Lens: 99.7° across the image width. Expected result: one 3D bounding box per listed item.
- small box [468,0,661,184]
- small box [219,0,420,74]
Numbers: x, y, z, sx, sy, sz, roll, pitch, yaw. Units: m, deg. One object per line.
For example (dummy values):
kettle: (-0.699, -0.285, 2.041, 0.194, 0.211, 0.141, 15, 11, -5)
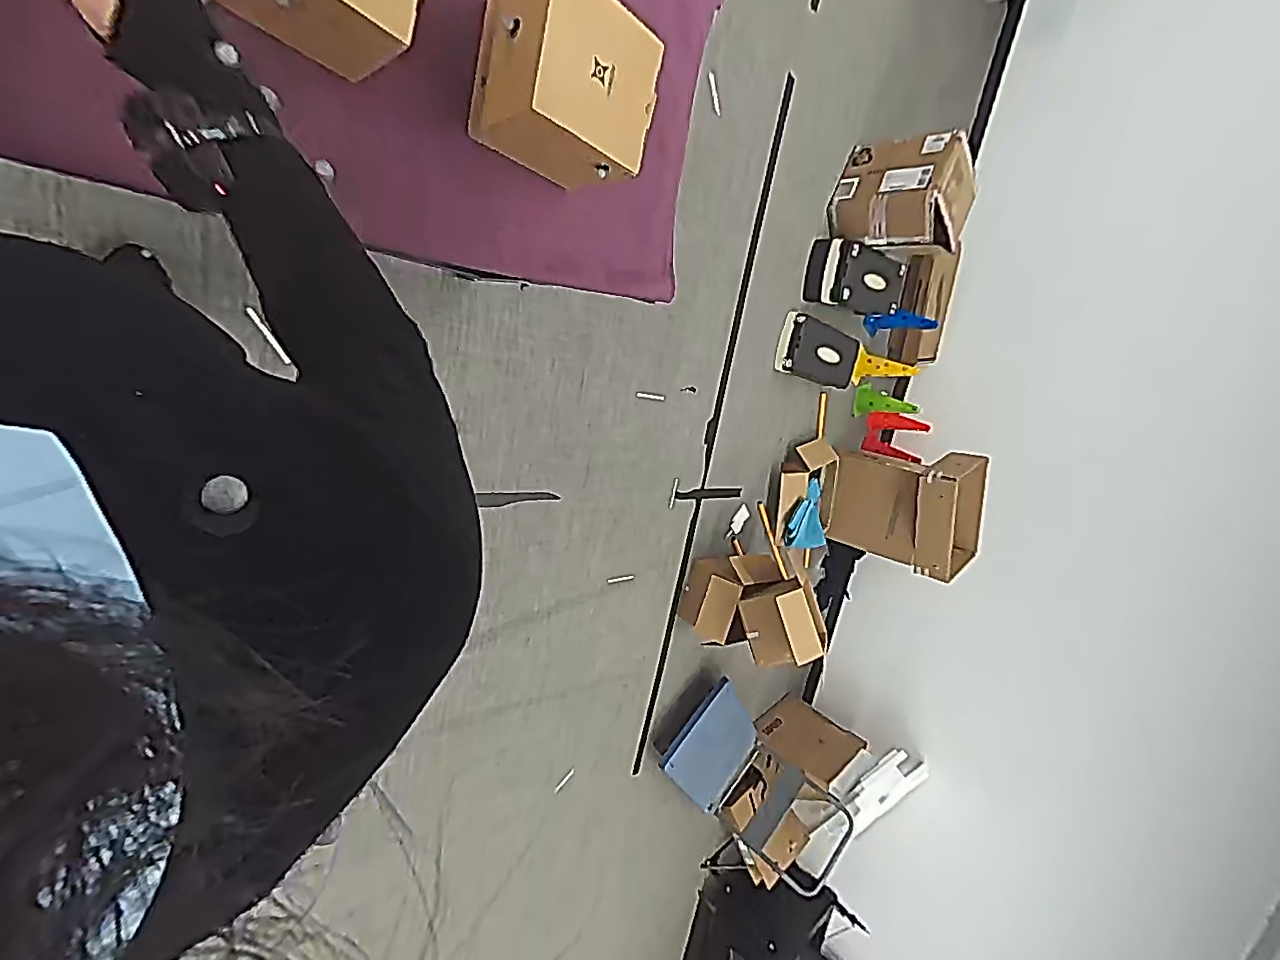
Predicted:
small box: (-0.103, -0.513, 0.714, 0.179, 0.176, 0.168, 3, 103, -46)
small box: (-0.311, -0.520, 0.498, 0.179, 0.176, 0.168, 9, 101, -48)
